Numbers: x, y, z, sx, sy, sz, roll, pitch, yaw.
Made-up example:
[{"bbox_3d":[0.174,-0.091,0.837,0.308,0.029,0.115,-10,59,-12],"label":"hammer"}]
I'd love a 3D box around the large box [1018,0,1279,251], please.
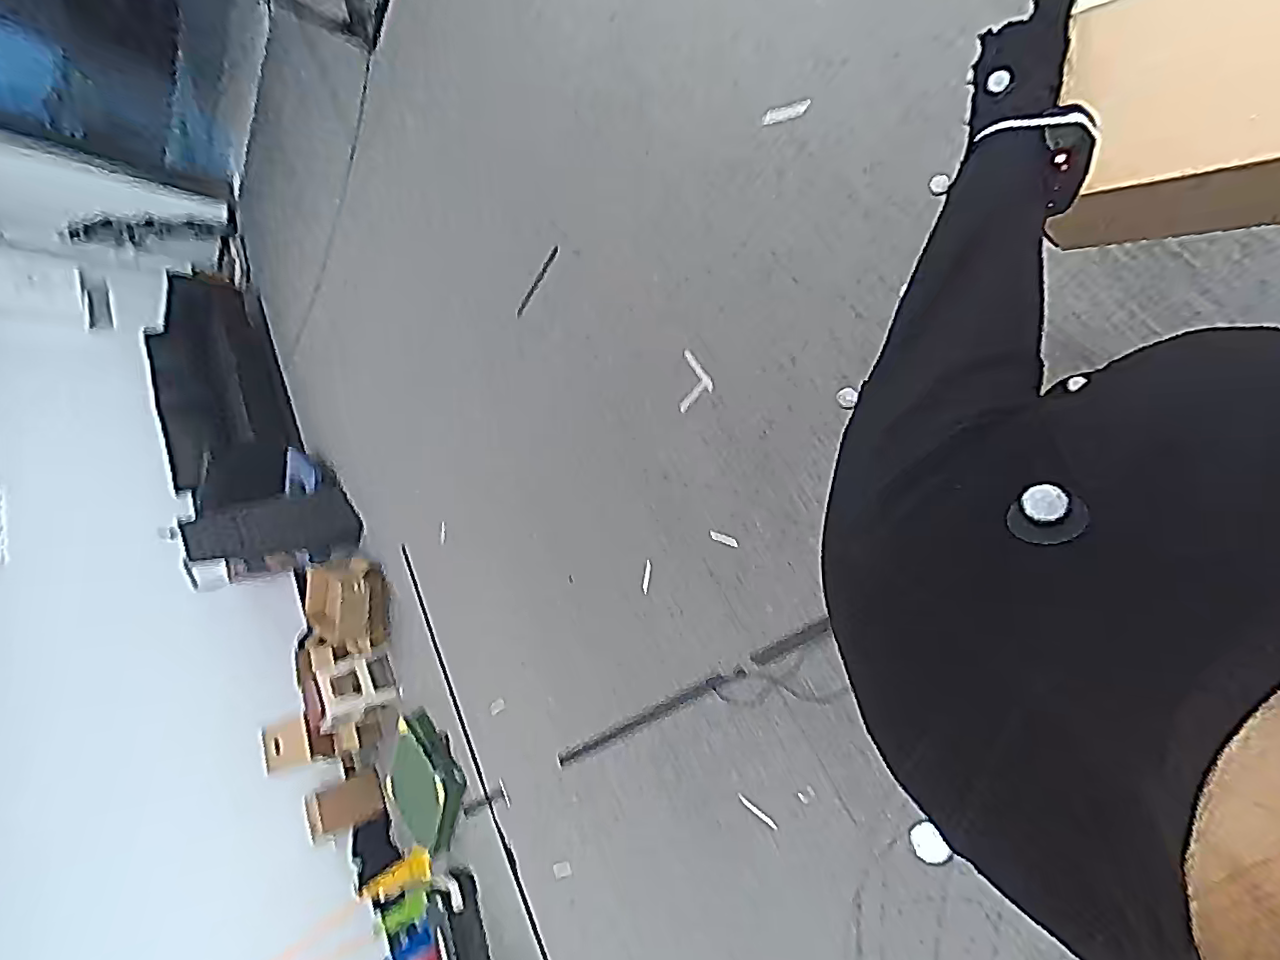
[{"bbox_3d":[0.605,-0.415,0.469,0.408,0.320,0.320,7,103,42],"label":"large box"}]
